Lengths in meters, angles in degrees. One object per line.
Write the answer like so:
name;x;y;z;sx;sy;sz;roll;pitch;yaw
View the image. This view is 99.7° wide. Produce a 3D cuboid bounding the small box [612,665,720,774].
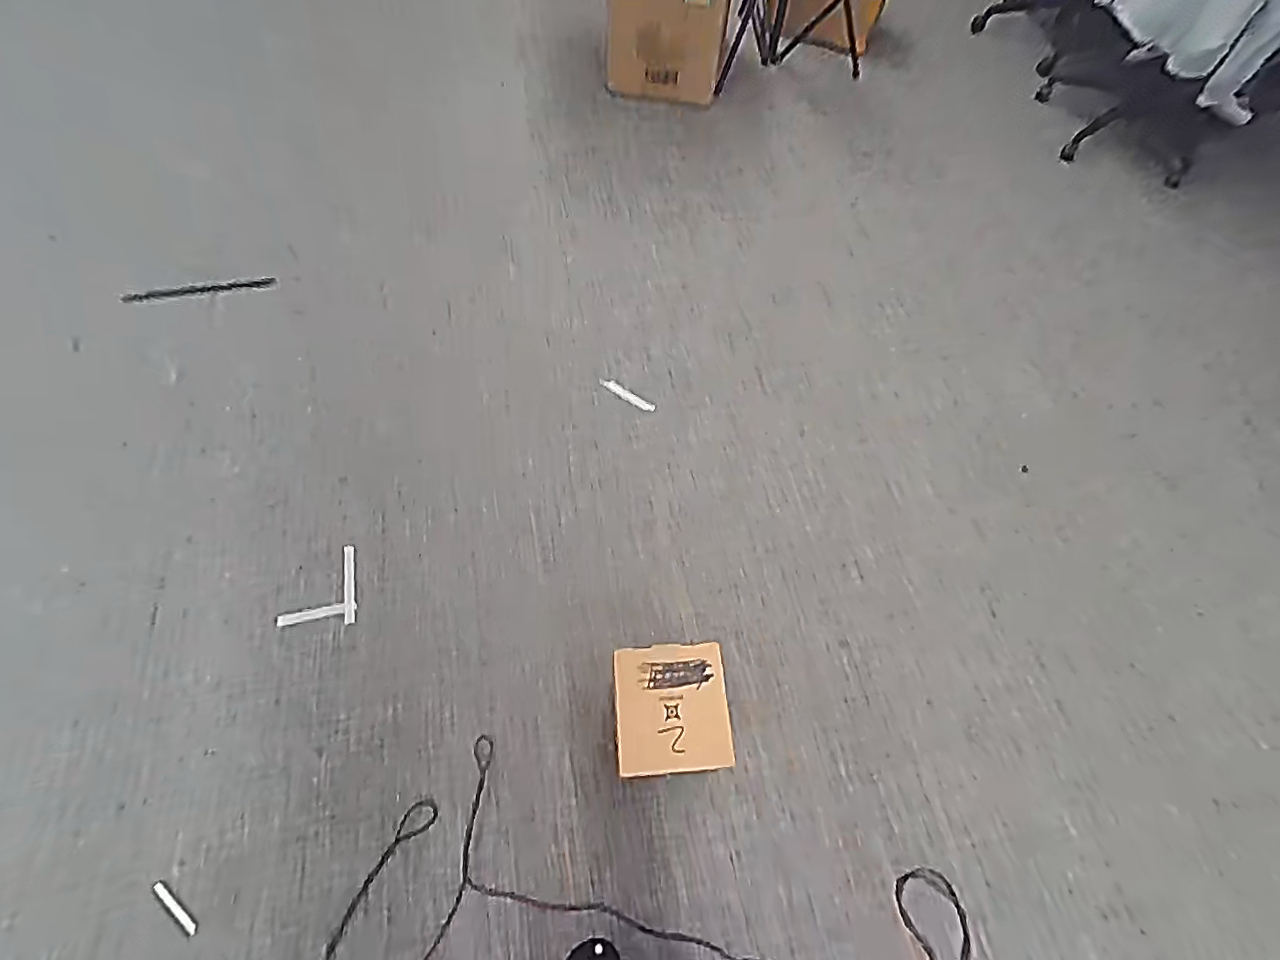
small box;0.042;0.451;1.012;0.179;0.176;0.168;-4;63;-5
